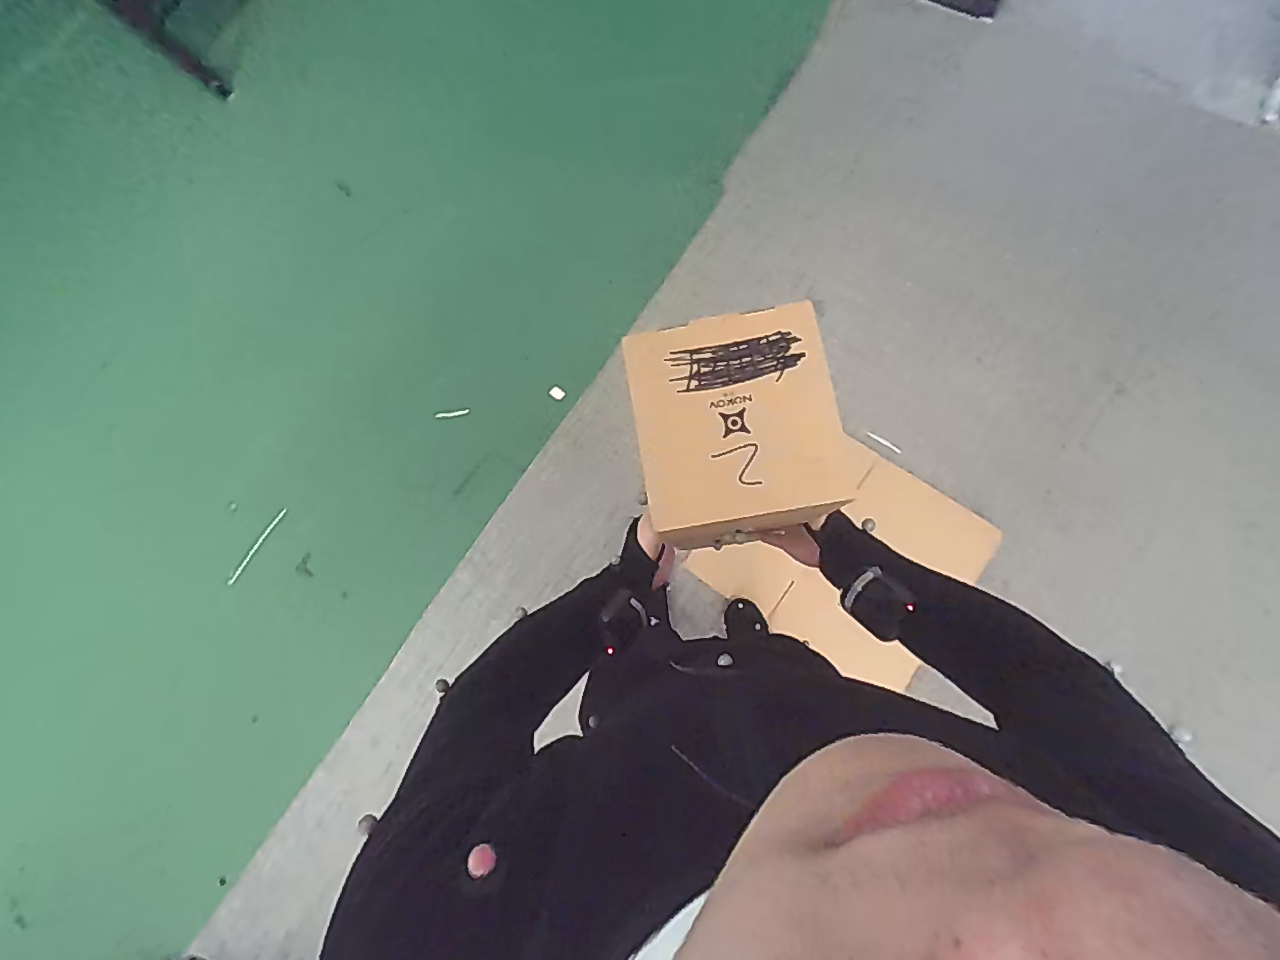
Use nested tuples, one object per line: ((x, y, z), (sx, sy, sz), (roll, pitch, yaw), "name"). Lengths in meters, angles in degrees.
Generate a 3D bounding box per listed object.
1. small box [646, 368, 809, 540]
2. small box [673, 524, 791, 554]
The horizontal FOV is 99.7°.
((0.104, -0.020, 0.680), (0.168, 0.176, 0.179), (-7, 78, 5), "small box")
((0.127, 0.014, 0.841), (0.168, 0.176, 0.179), (-8, 78, 6), "small box")
